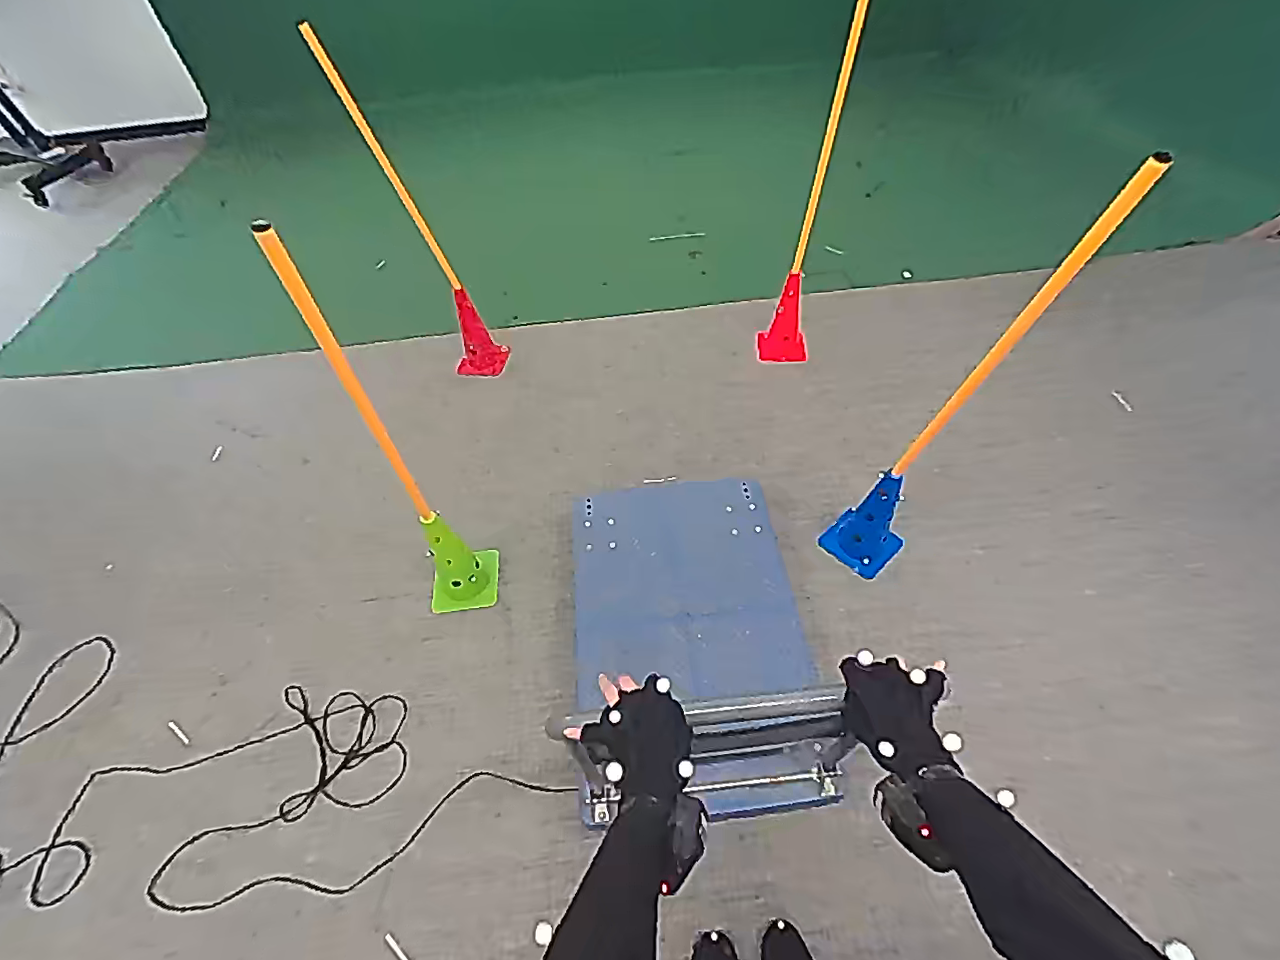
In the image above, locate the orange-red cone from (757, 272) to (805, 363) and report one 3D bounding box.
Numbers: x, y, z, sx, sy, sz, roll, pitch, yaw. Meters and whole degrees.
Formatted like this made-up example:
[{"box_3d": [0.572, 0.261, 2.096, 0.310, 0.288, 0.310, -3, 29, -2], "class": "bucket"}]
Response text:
[{"box_3d": [0.593, -0.670, 2.185, 0.198, 0.360, 0.199, 2, 53, 6], "class": "orange-red cone"}]
